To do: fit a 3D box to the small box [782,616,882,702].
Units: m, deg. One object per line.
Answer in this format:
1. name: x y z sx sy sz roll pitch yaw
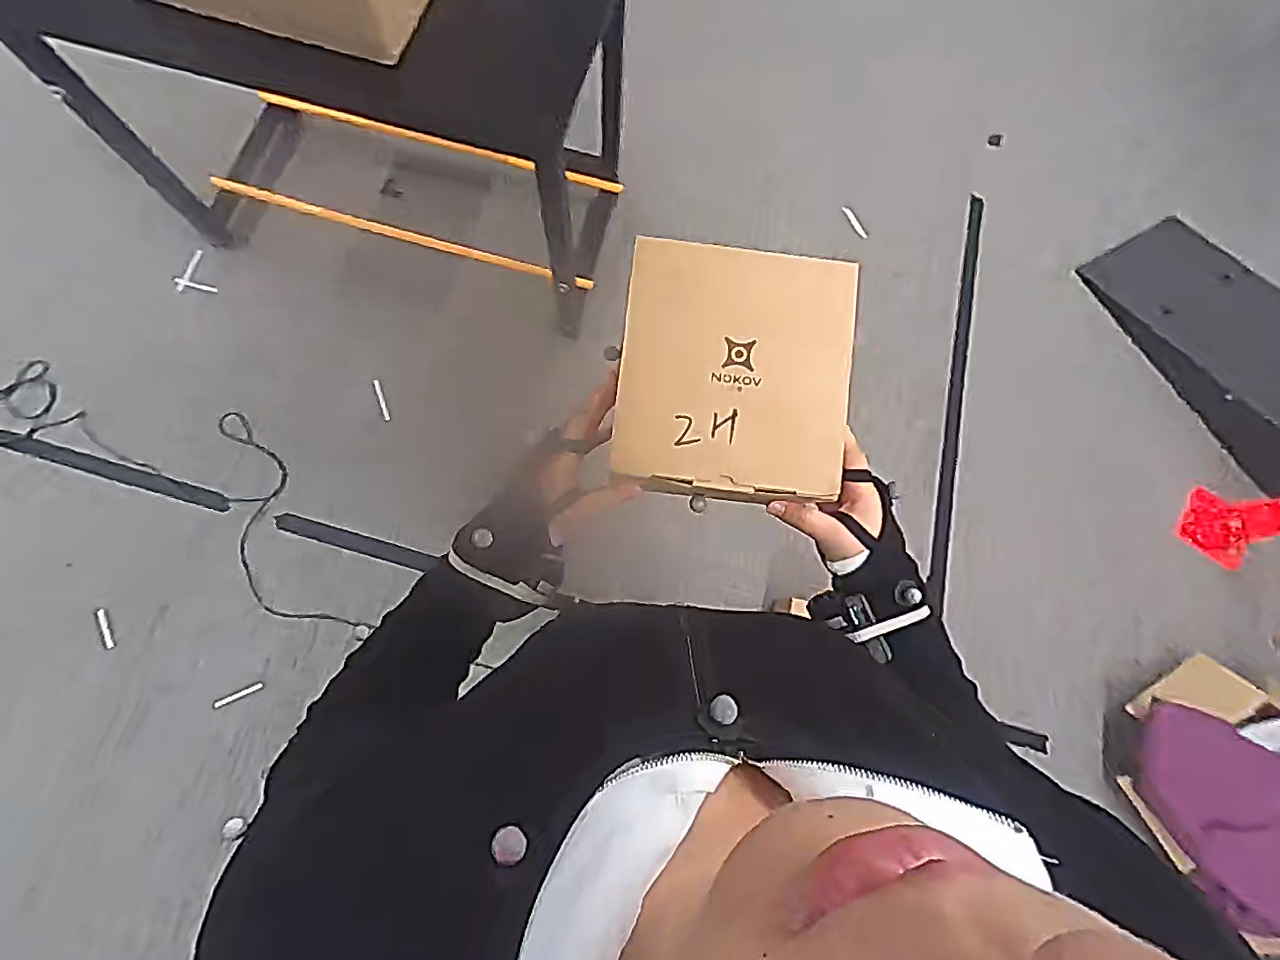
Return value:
1. small box: 0.475 0.441 1.352 0.179 0.176 0.168 13 74 1
